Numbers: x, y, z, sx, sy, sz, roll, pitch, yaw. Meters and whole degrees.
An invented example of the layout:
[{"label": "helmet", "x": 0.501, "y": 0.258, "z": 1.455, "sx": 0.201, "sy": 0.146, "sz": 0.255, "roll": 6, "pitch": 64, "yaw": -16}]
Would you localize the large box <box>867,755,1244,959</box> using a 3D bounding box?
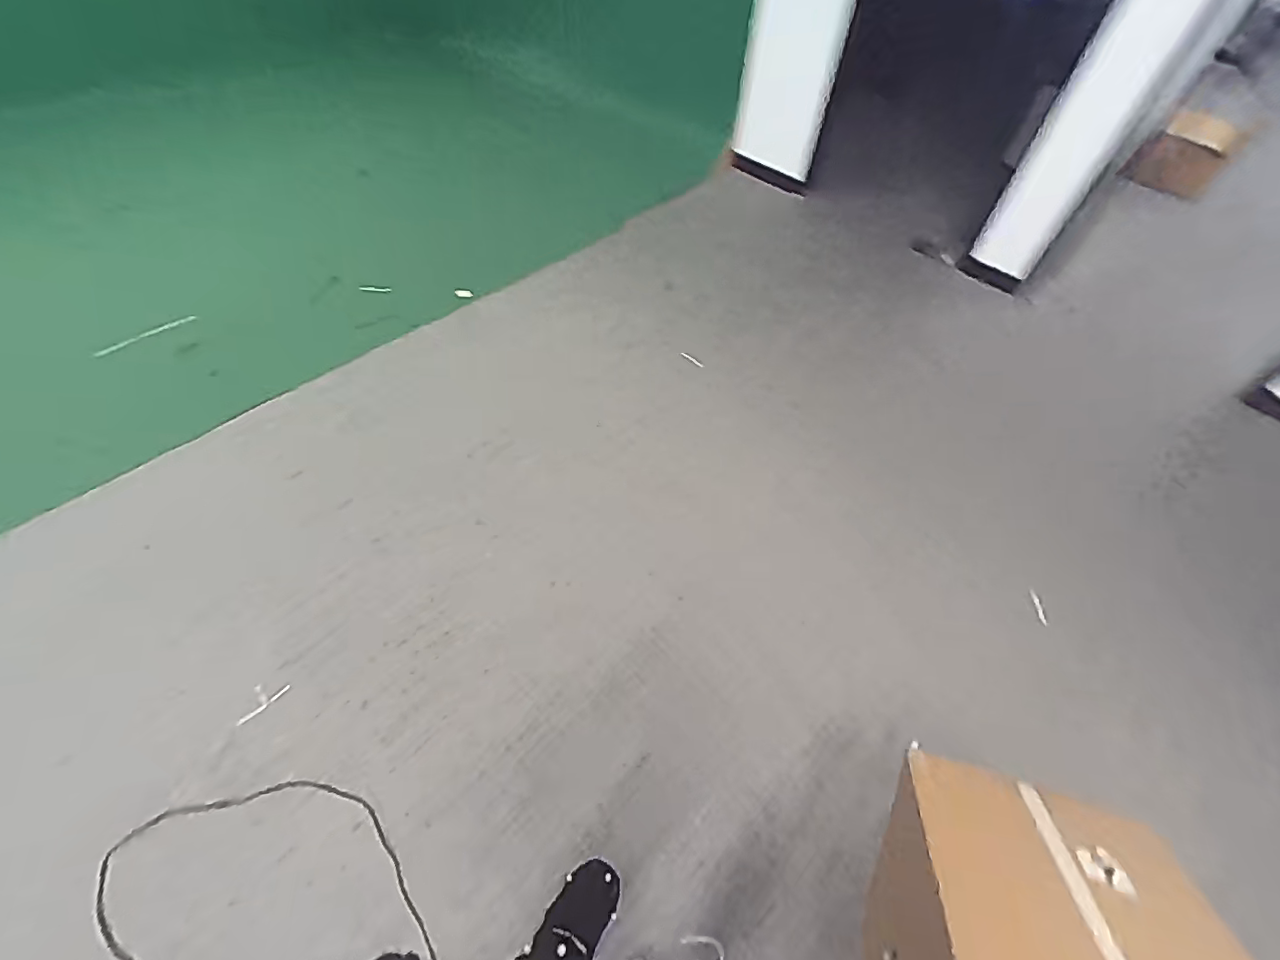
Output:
[{"label": "large box", "x": 0.472, "y": 0.625, "z": 0.631, "sx": 0.320, "sy": 0.320, "sz": 0.408, "roll": 13, "pitch": 12, "yaw": 17}]
